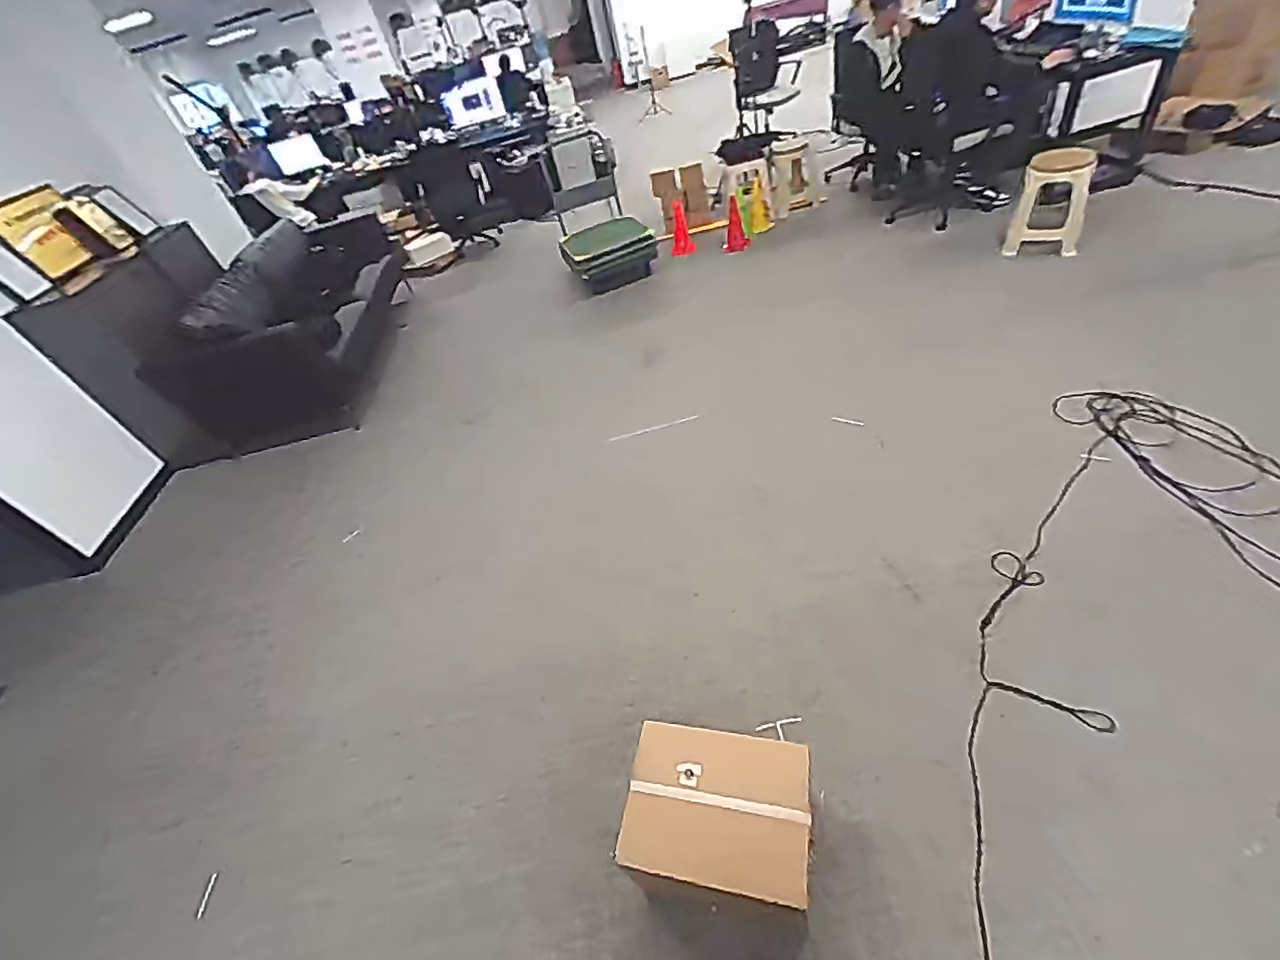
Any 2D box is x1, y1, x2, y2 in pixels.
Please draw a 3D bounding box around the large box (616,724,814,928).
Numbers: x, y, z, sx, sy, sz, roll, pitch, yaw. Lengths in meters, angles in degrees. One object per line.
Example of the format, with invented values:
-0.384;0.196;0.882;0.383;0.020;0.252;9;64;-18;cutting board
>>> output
0.205;0.826;1.304;0.408;0.320;0.320;-1;44;19;large box
